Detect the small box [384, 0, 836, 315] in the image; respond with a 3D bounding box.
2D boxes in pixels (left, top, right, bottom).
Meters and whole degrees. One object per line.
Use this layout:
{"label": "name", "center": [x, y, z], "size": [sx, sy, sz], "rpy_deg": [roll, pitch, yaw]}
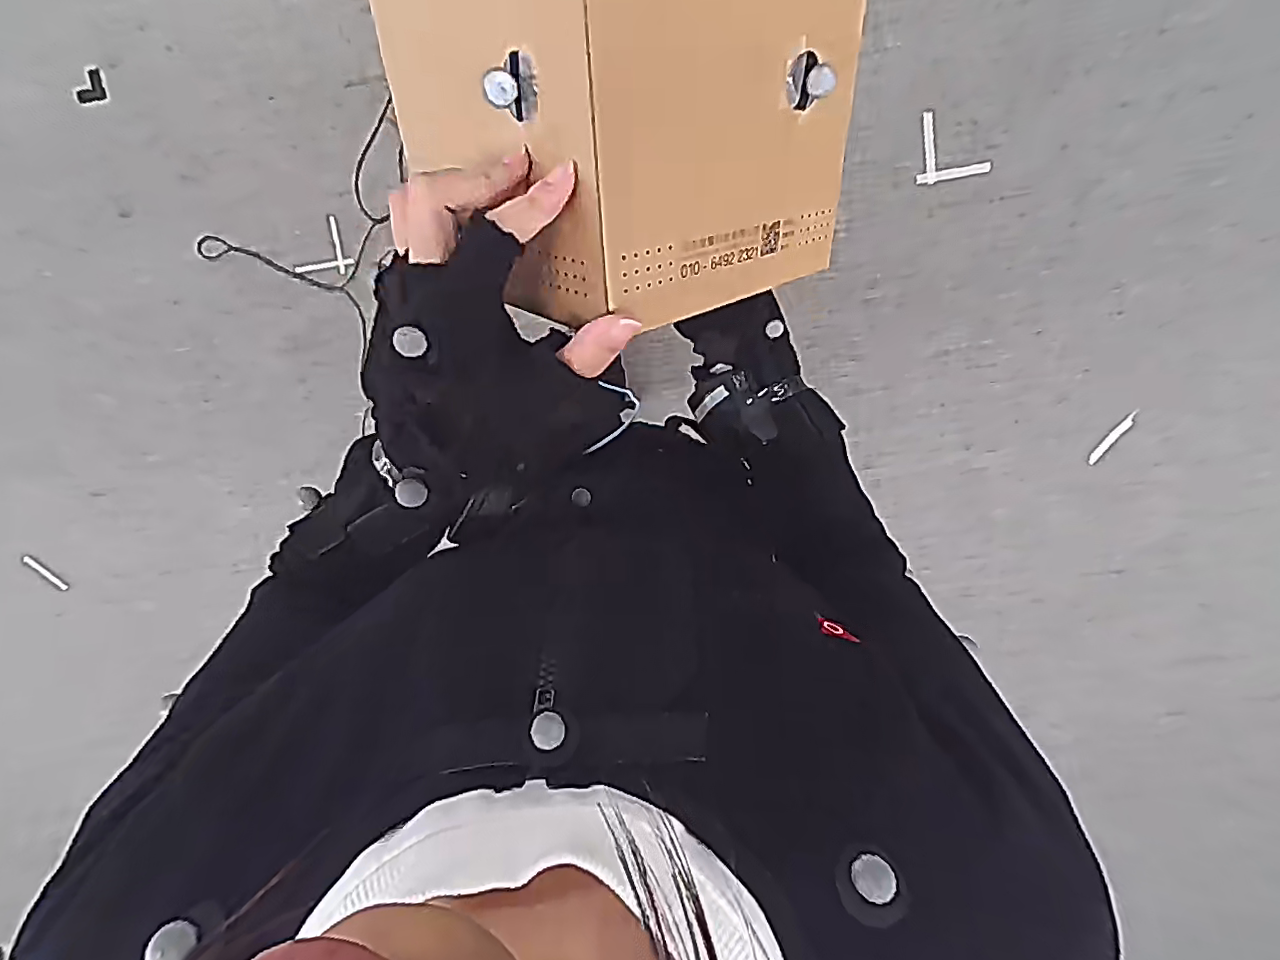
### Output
{"label": "small box", "center": [-0.011, -0.198, 0.294], "size": [0.168, 0.179, 0.176], "rpy_deg": [-28, 131, -33]}
